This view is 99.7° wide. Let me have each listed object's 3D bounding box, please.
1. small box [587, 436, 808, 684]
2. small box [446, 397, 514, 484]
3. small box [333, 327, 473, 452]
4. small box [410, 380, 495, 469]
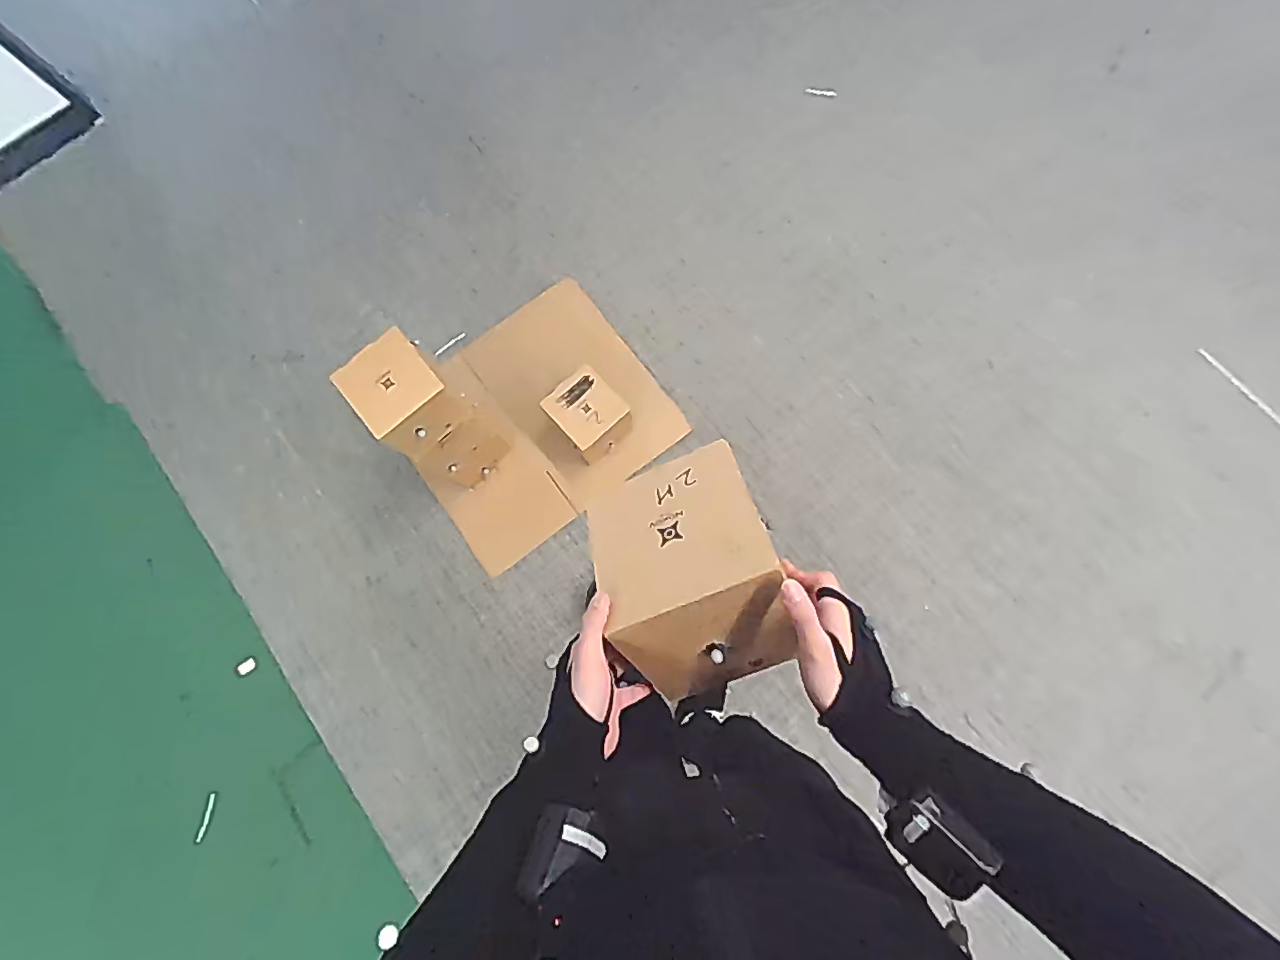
[{"bbox_3d":[0.060,0.093,0.567,0.168,0.176,0.179,-23,43,10],"label":"small box"},{"bbox_3d":[-0.468,-0.111,1.450,0.168,0.176,0.179,-44,80,-5],"label":"small box"},{"bbox_3d":[-0.483,-0.177,1.132,0.168,0.176,0.179,-41,79,-4],"label":"small box"},{"bbox_3d":[-0.477,-0.142,1.290,0.168,0.176,0.179,-41,79,-5],"label":"small box"}]
